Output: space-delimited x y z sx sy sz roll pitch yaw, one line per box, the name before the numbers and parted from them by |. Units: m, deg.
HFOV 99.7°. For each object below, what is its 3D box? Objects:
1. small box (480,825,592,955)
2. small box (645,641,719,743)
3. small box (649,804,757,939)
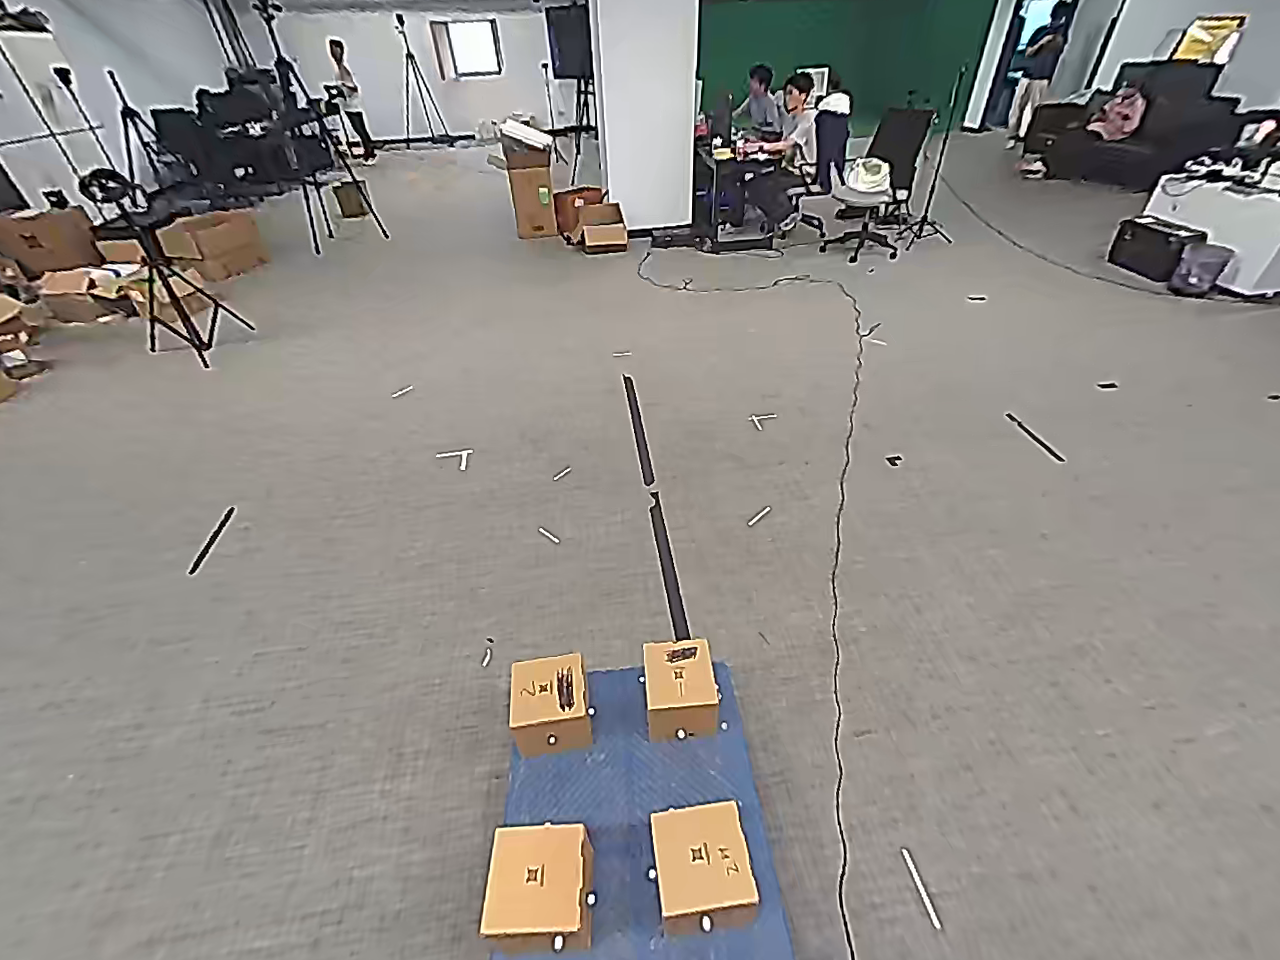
small box | -0.190 0.792 1.044 0.179 0.176 0.168 -3 39 -1
small box | 0.098 0.527 1.346 0.168 0.176 0.179 -4 40 -1
small box | 0.118 0.764 1.055 0.179 0.176 0.168 -7 40 -3
